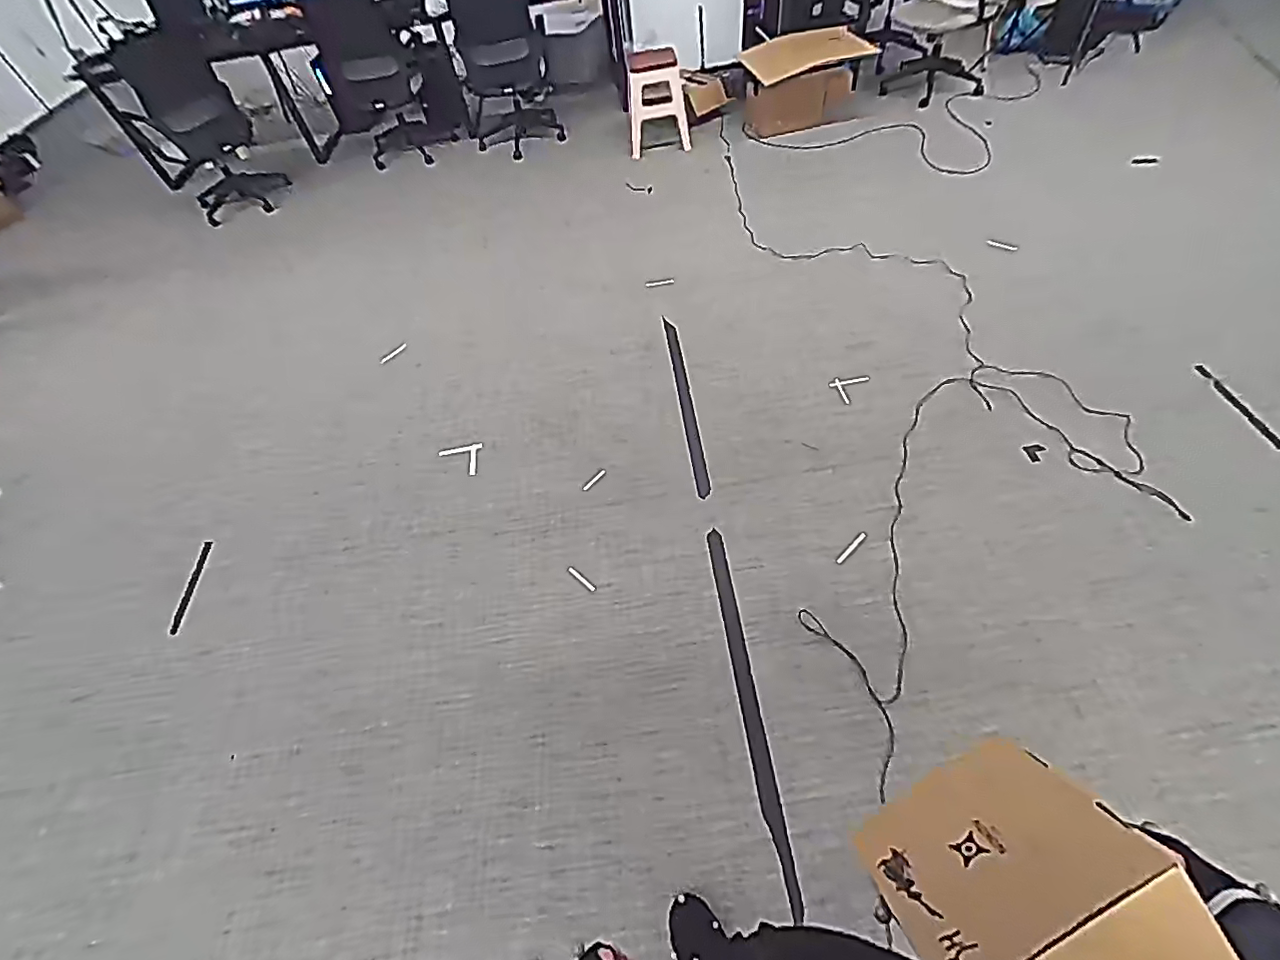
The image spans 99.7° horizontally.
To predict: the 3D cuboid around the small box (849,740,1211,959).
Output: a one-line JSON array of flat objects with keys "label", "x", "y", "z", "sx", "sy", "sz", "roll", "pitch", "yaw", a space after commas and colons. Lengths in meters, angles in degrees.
[{"label": "small box", "x": 0.316, "y": 0.365, "z": 0.443, "sx": 0.179, "sy": 0.168, "sz": 0.176, "roll": -33, "pitch": 93, "yaw": 0}]
